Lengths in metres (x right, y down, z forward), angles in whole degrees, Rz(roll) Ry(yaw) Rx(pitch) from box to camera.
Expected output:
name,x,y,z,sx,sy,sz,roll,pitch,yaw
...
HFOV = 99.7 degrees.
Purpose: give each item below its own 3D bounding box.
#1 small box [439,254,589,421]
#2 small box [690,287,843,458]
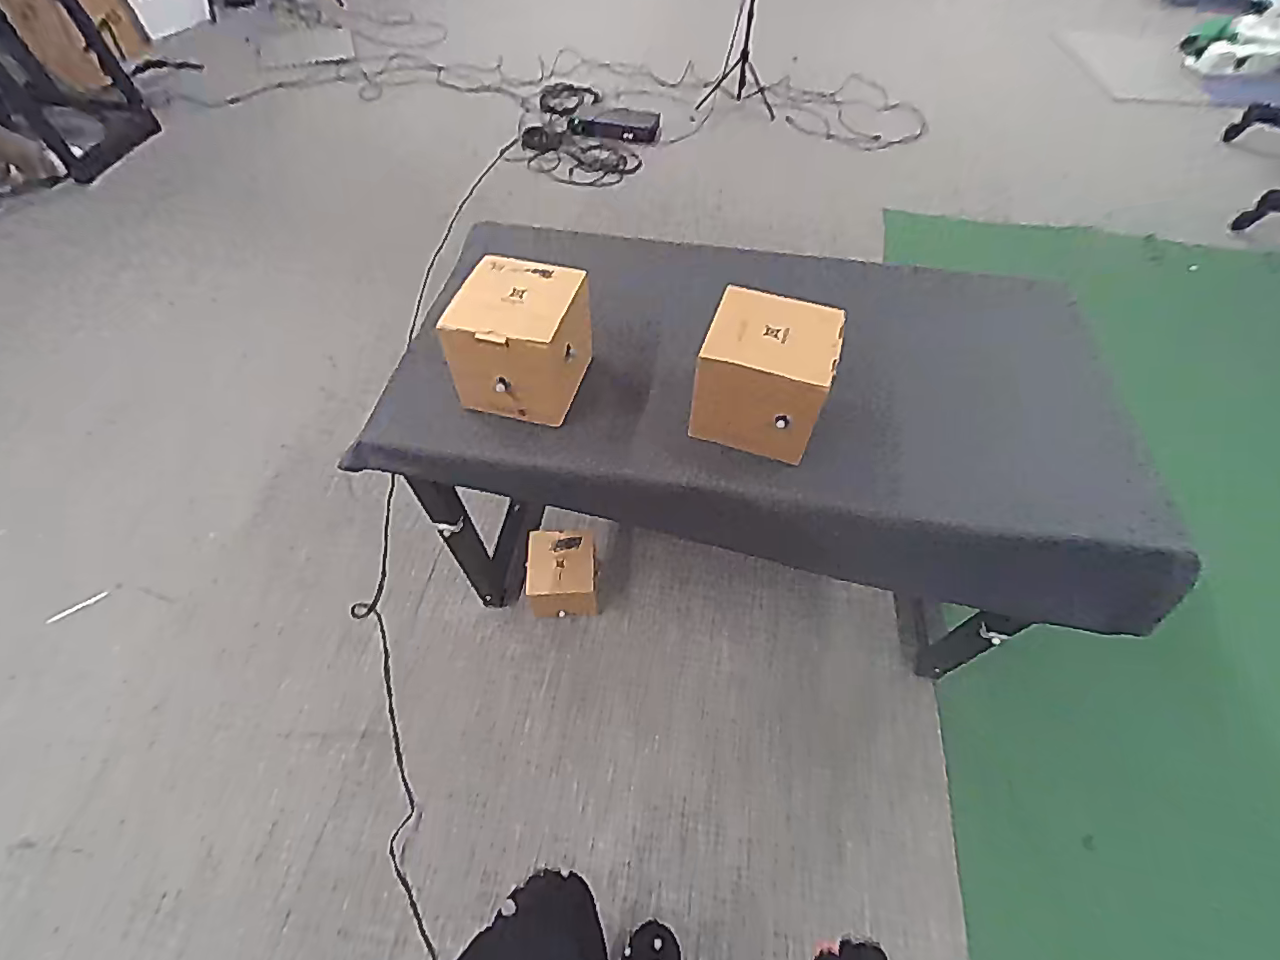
name,x,y,z,sx,sy,sz,roll,pitch,yaw
small box,-0.180,-0.216,0.841,0.168,0.176,0.179,13,56,6
small box,0.183,-0.155,0.812,0.179,0.176,0.168,15,55,10
